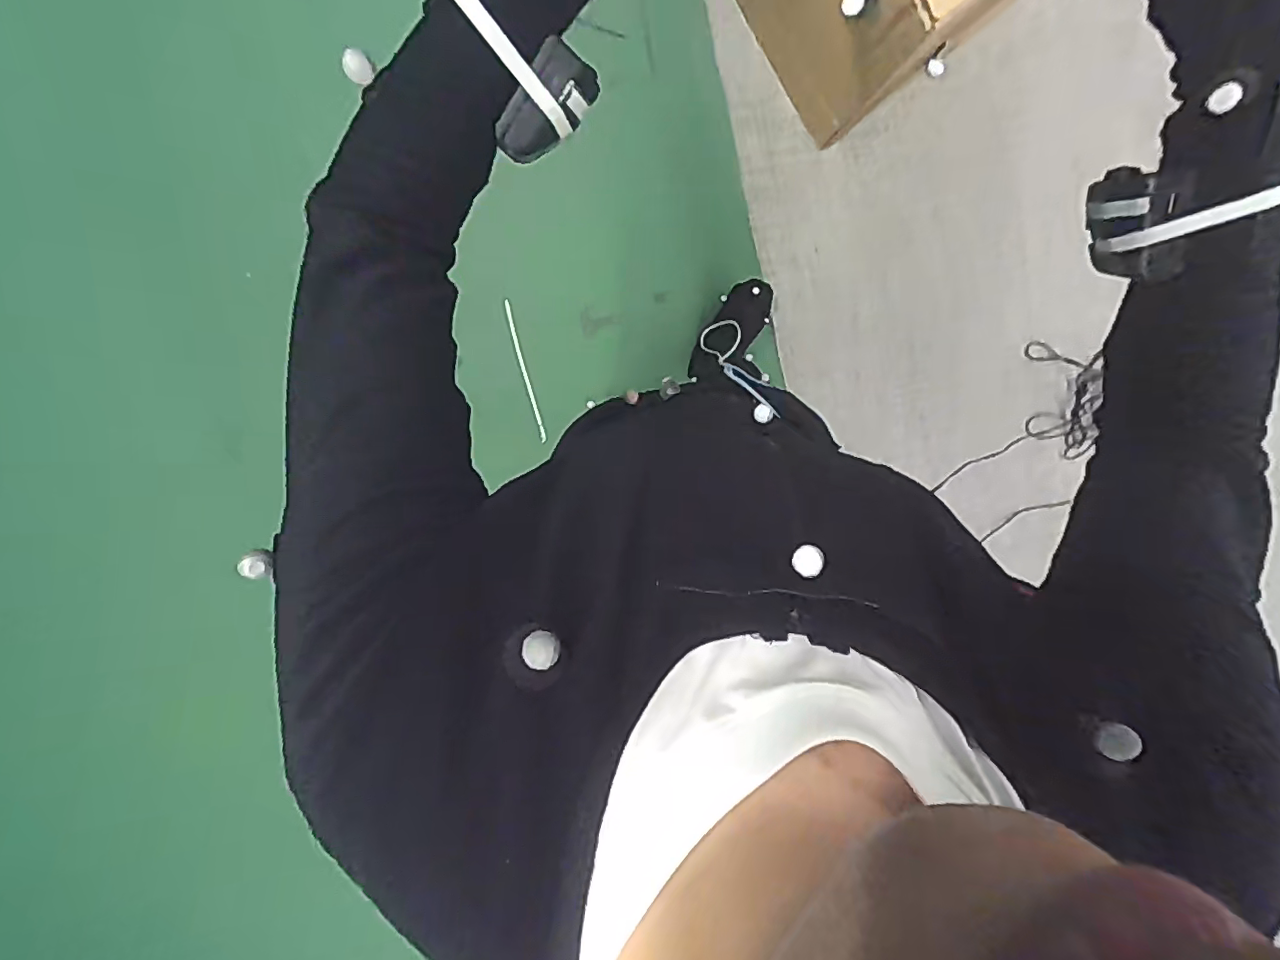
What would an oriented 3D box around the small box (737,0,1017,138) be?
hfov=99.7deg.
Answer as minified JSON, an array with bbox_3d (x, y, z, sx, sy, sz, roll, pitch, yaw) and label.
[{"bbox_3d":[0.161,-0.361,0.330,0.168,0.176,0.179,-35,102,7],"label":"small box"}]
